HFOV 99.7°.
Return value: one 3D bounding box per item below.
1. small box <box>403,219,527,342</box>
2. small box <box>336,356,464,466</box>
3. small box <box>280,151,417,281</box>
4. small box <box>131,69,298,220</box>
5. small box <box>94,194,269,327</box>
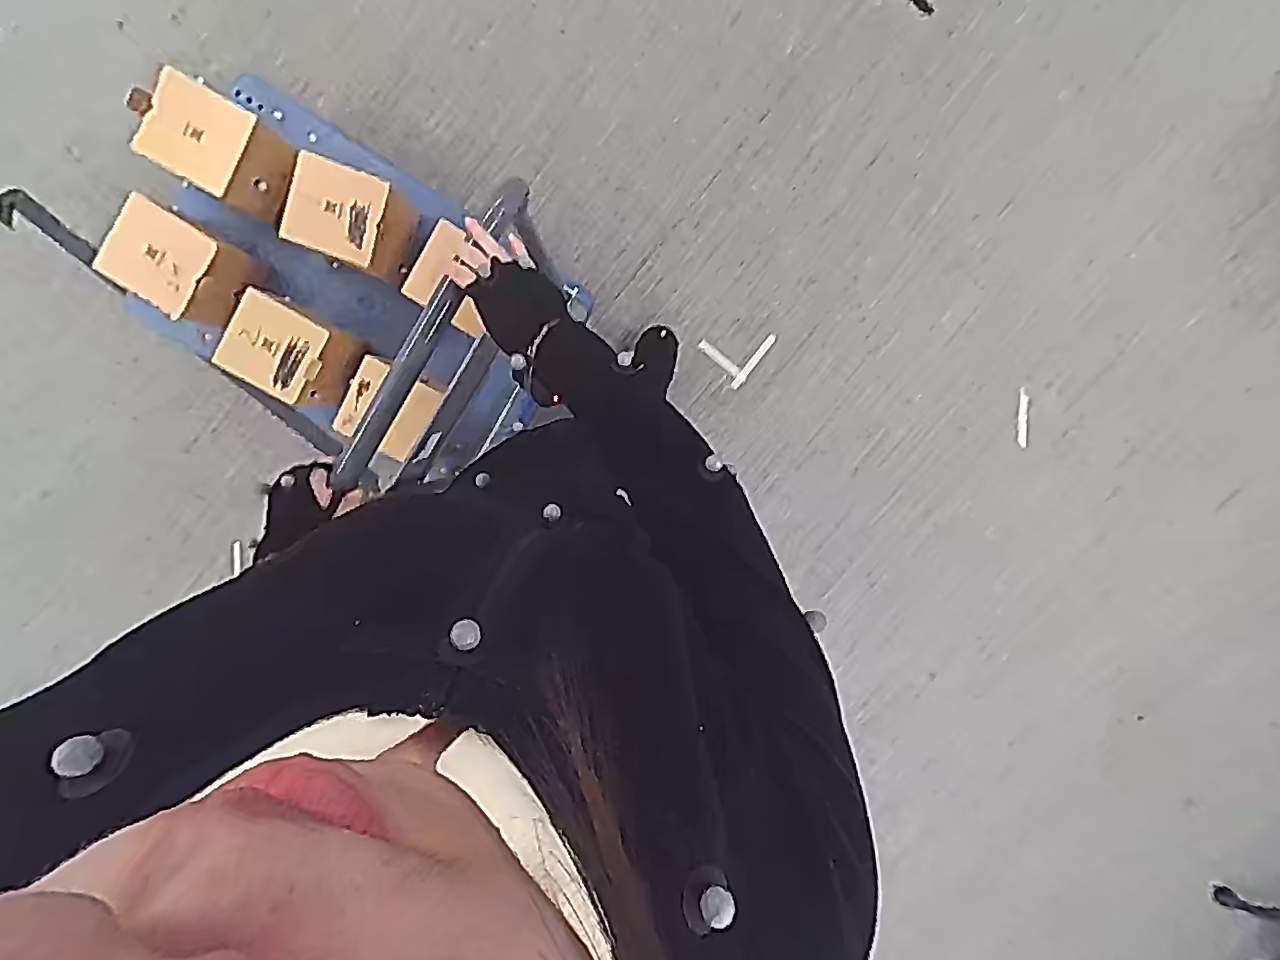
[{"bbox_3d":[-0.356,-0.408,1.141,0.179,0.176,0.168,31,94,-8],"label":"small box"},{"bbox_3d":[-0.504,-0.150,1.165,0.179,0.176,0.168,27,95,-8],"label":"small box"},{"bbox_3d":[-0.583,-0.524,1.105,0.179,0.176,0.168,18,96,-6],"label":"small box"},{"bbox_3d":[-0.825,-0.645,1.070,0.179,0.176,0.168,27,95,-8],"label":"small box"},{"bbox_3d":[-0.911,-0.428,1.093,0.179,0.176,0.168,32,95,-9],"label":"small box"}]
